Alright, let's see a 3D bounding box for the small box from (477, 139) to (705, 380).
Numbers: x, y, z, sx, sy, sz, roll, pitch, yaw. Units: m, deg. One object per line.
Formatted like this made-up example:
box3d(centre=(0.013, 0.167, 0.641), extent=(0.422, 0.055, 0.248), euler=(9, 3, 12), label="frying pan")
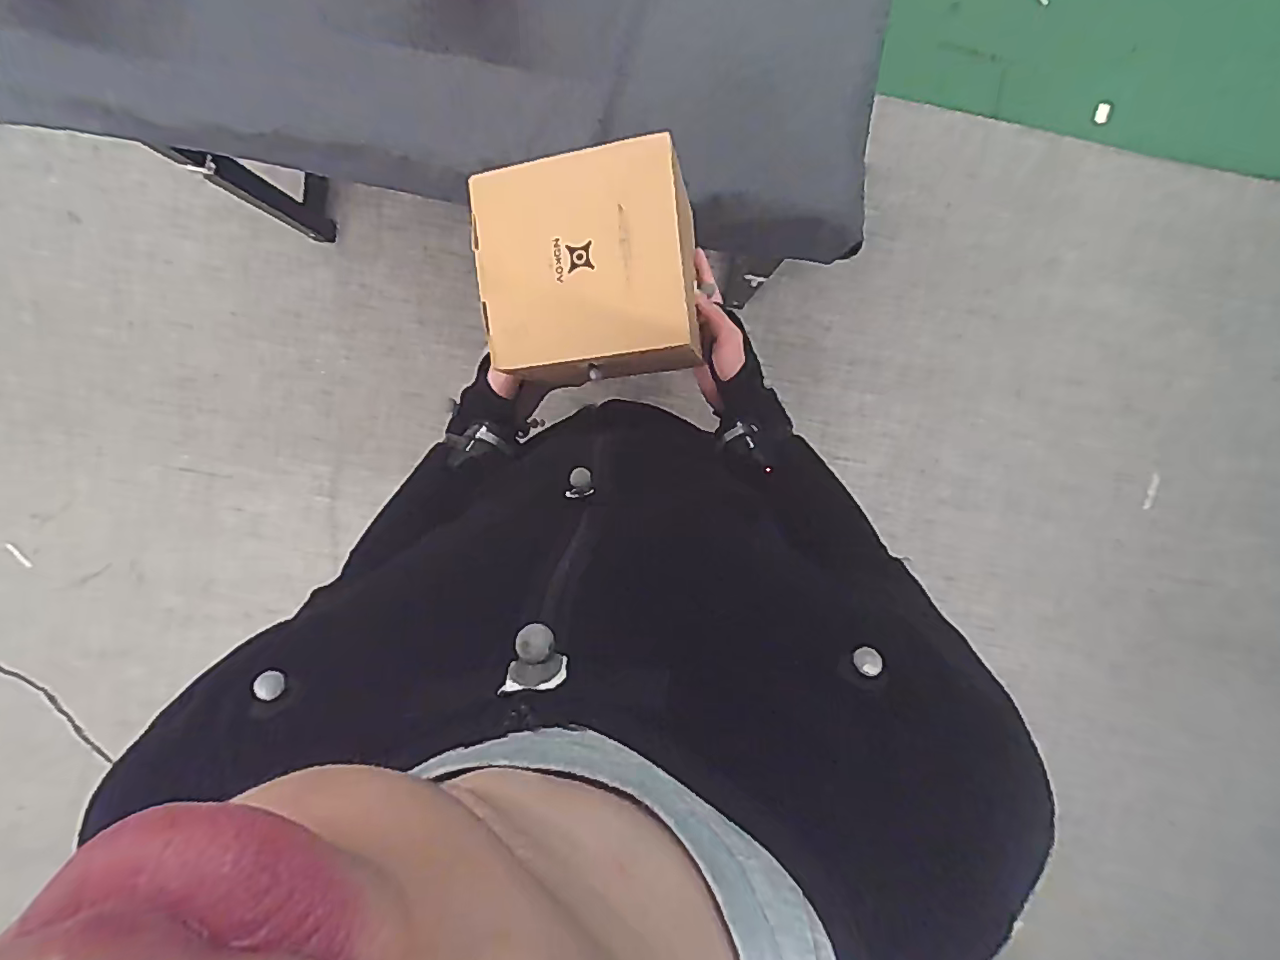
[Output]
box3d(centre=(-0.034, -0.194, 0.533), extent=(0.179, 0.176, 0.168), euler=(-5, 96, 10), label="small box")
